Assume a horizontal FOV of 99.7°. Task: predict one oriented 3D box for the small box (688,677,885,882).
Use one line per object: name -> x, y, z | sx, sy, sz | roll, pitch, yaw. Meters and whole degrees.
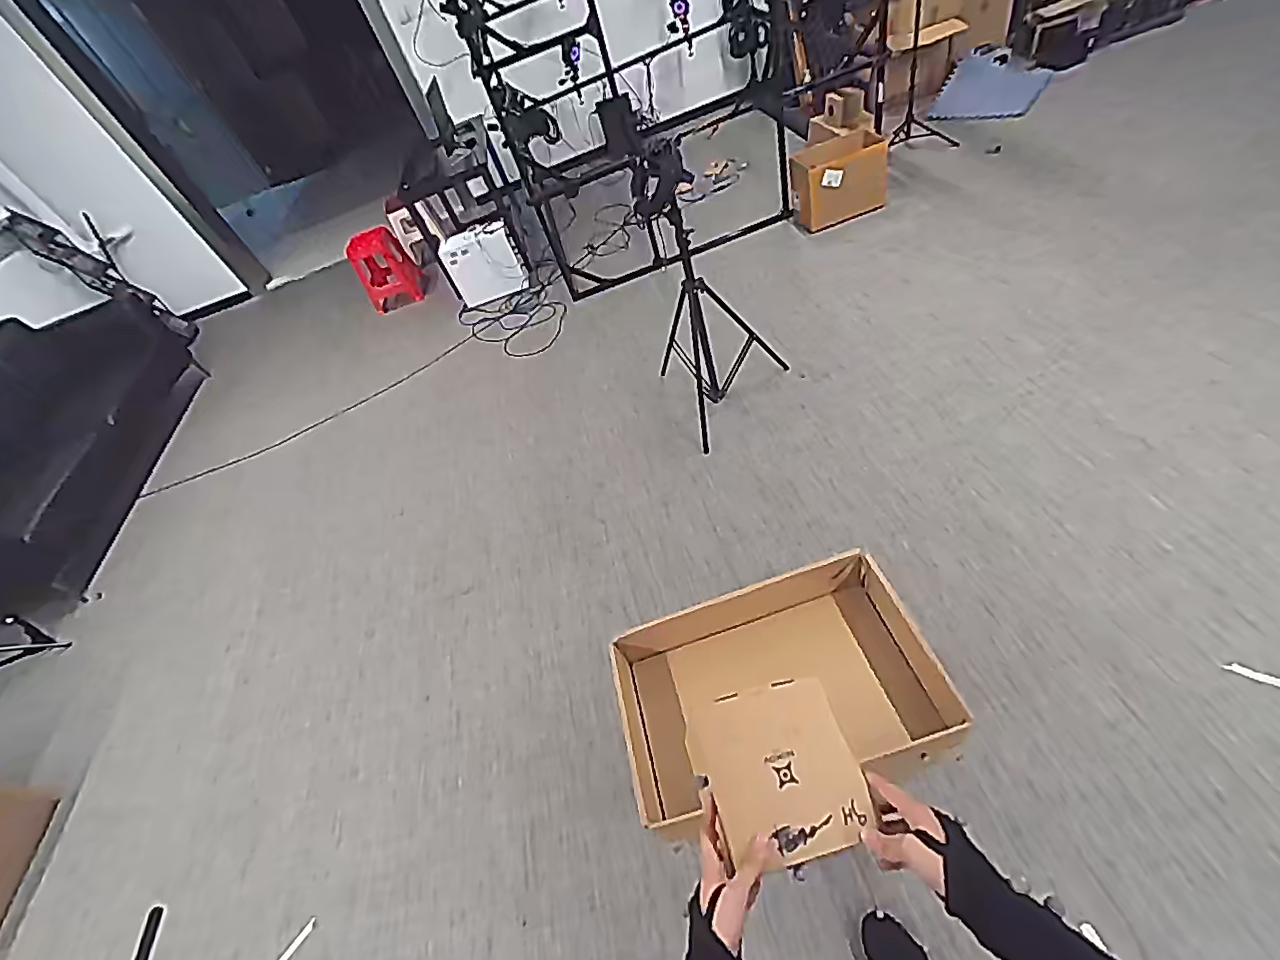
small box -> 0.162, 0.373, 0.671 | 0.168, 0.176, 0.179 | -11, 53, -7
